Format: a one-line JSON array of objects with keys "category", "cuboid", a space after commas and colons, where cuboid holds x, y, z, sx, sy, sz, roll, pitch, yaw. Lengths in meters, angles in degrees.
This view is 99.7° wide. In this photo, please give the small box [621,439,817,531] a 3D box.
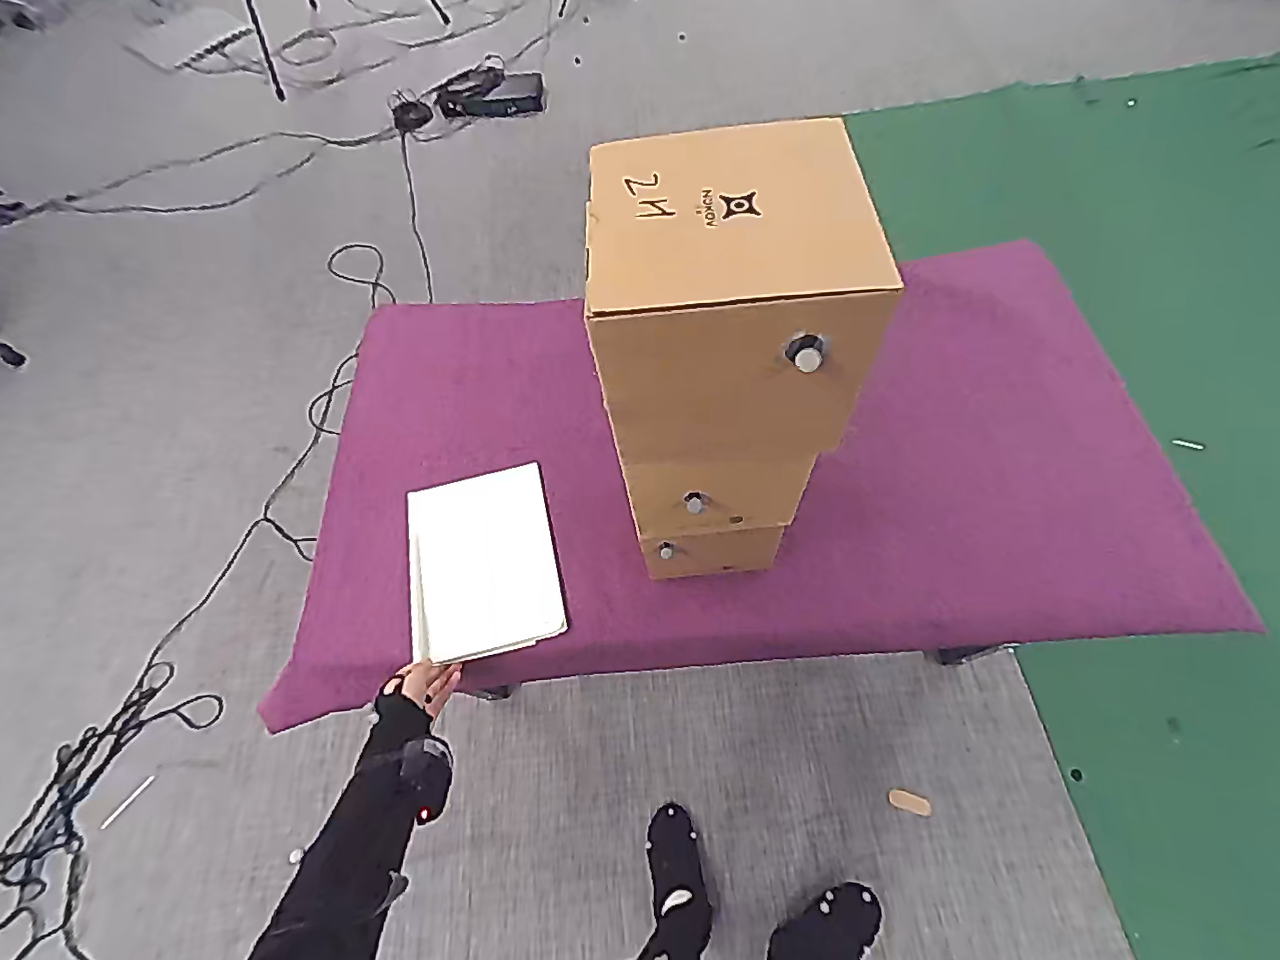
[{"category": "small box", "cuboid": [0.070, -0.056, 0.556, 0.168, 0.176, 0.179, -5, 61, 3]}]

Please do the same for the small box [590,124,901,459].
[{"category": "small box", "cuboid": [0.064, -0.129, 0.407, 0.179, 0.176, 0.168, -4, 61, 4]}]
